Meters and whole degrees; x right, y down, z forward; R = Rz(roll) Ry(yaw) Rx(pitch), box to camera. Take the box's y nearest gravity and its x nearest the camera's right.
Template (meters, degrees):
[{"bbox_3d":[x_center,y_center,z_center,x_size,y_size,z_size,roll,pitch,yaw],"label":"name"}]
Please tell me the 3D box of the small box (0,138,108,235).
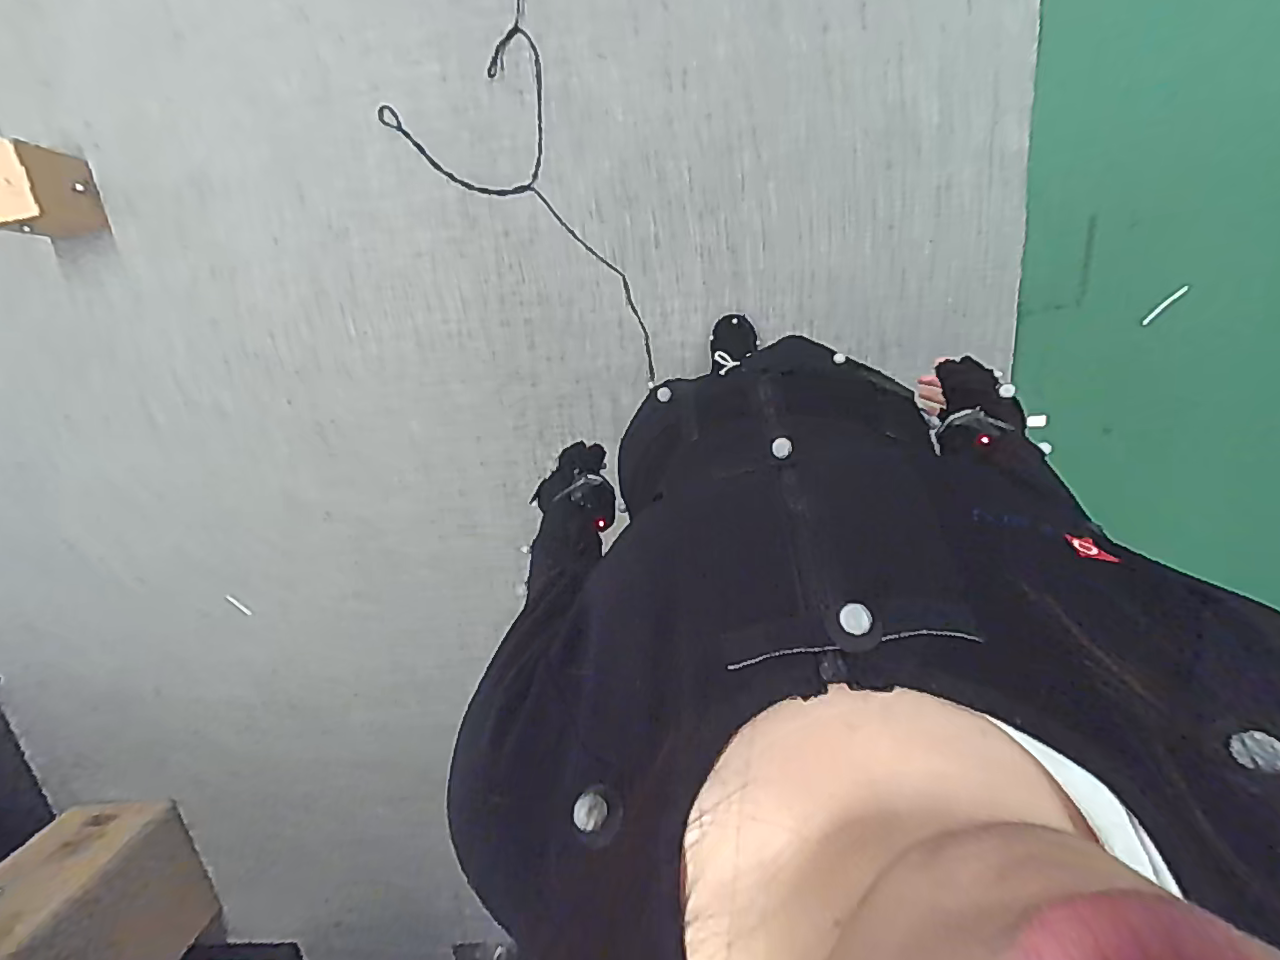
[{"bbox_3d":[-1.486,-0.709,1.324,0.179,0.176,0.168,-6,106,6],"label":"small box"}]
